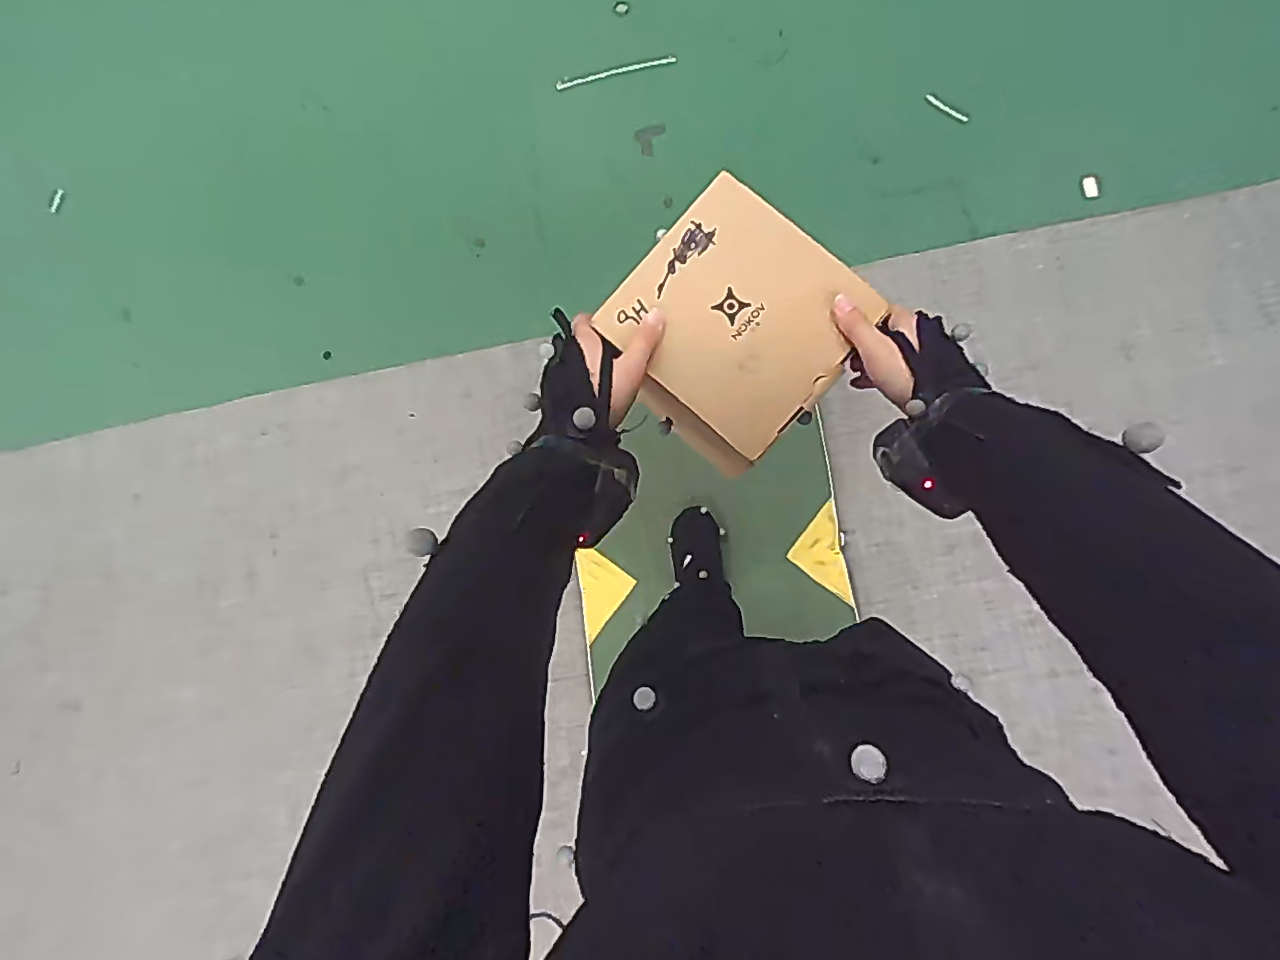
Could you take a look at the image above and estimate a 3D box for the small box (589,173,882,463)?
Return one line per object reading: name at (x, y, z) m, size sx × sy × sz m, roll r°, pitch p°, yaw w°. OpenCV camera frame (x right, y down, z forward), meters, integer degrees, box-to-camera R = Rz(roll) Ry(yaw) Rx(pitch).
small box at (0.079, -0.129, 0.508) m, size 0.179 × 0.176 × 0.168 m, roll 42°, pitch 89°, yaw 4°
